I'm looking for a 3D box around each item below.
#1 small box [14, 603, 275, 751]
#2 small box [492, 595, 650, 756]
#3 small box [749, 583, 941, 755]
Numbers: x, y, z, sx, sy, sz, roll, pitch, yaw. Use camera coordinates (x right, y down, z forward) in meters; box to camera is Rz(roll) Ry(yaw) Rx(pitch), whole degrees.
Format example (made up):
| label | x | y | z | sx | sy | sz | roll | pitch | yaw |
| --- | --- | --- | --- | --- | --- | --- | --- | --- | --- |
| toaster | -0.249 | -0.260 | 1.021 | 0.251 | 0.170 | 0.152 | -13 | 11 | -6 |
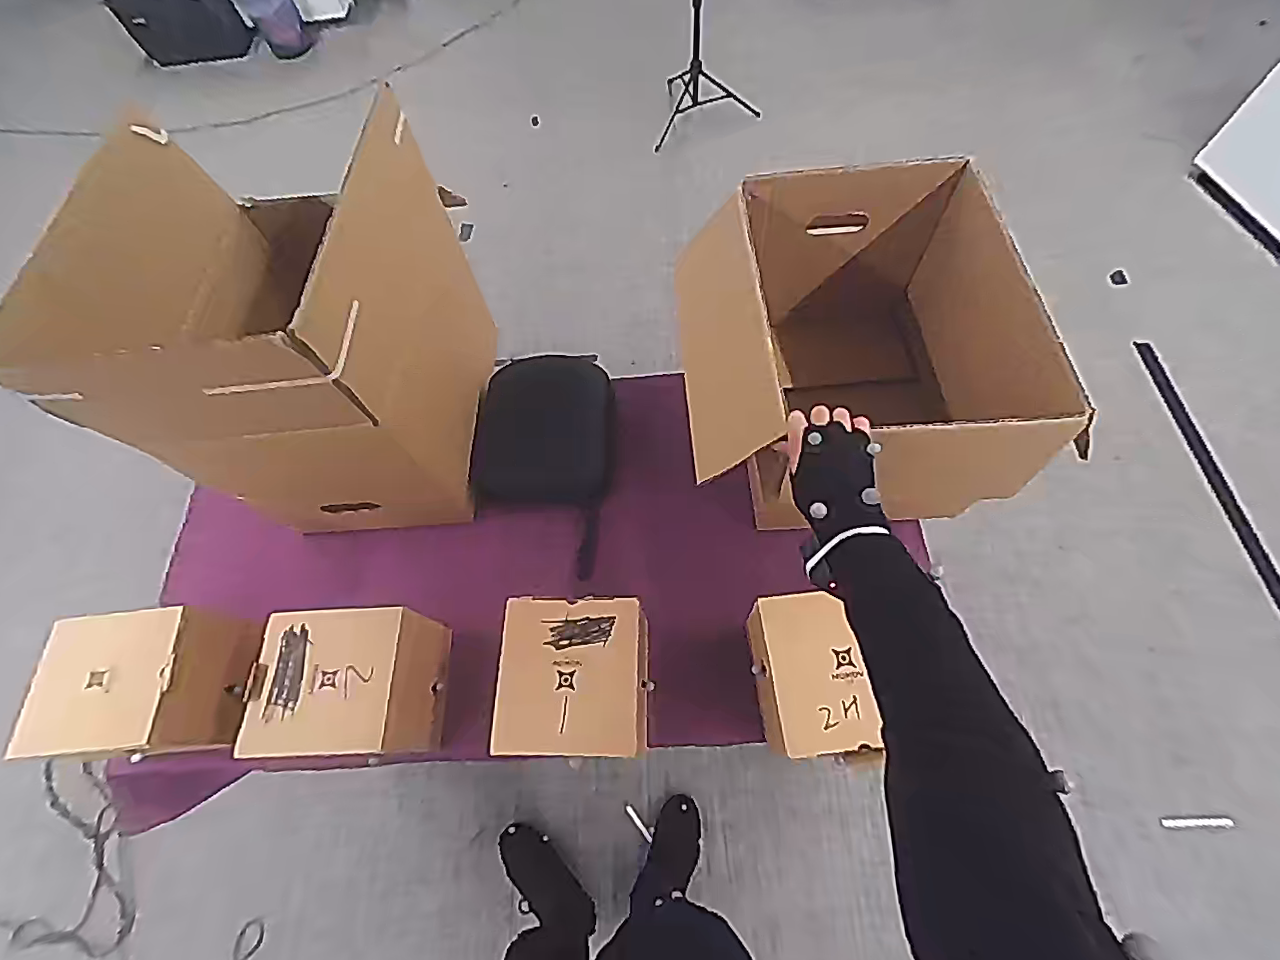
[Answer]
| label | x | y | z | sx | sy | sz | roll | pitch | yaw |
| --- | --- | --- | --- | --- | --- | --- | --- | --- | --- |
| small box | -0.655 | 0.275 | 0.742 | 0.179 | 0.176 | 0.168 | -6 | 64 | 1 |
| small box | -0.076 | 0.255 | 0.701 | 0.168 | 0.176 | 0.179 | -1 | 65 | 5 |
| small box | 0.237 | 0.241 | 0.678 | 0.168 | 0.176 | 0.179 | -6 | 65 | 3 |
